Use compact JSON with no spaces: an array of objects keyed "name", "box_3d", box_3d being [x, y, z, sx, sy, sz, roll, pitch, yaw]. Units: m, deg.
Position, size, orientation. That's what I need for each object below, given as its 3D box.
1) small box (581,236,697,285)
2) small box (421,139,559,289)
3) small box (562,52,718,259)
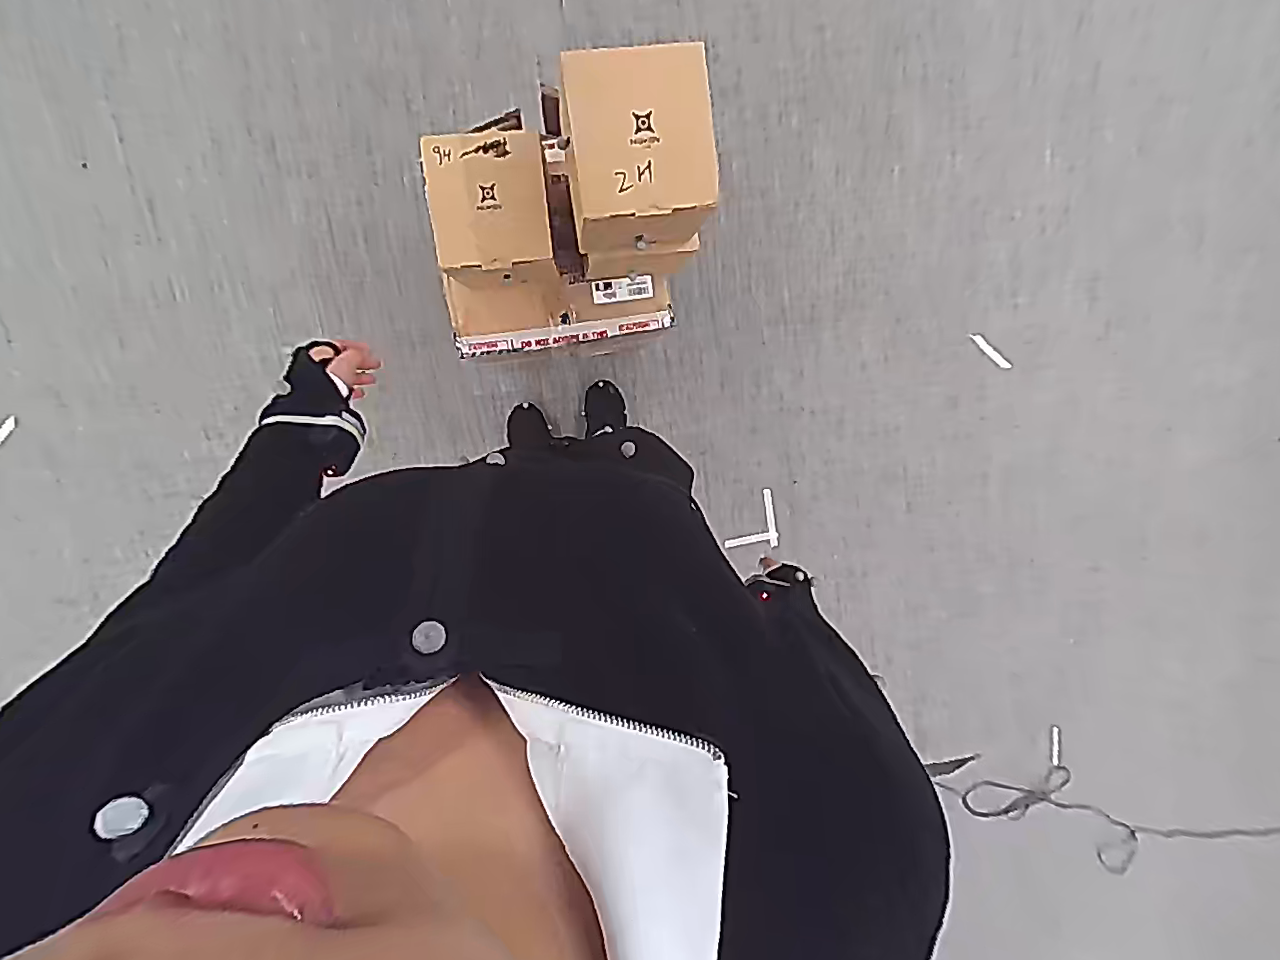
[{"name":"small box","box_3d":[-0.013,-0.421,0.862,0.168,0.176,0.179,-7,102,-7]},{"name":"small box","box_3d":[-0.220,-0.398,0.841,0.168,0.176,0.179,-6,102,-4]},{"name":"small box","box_3d":[-0.009,-0.403,0.697,0.168,0.176,0.179,-9,101,-6]}]
